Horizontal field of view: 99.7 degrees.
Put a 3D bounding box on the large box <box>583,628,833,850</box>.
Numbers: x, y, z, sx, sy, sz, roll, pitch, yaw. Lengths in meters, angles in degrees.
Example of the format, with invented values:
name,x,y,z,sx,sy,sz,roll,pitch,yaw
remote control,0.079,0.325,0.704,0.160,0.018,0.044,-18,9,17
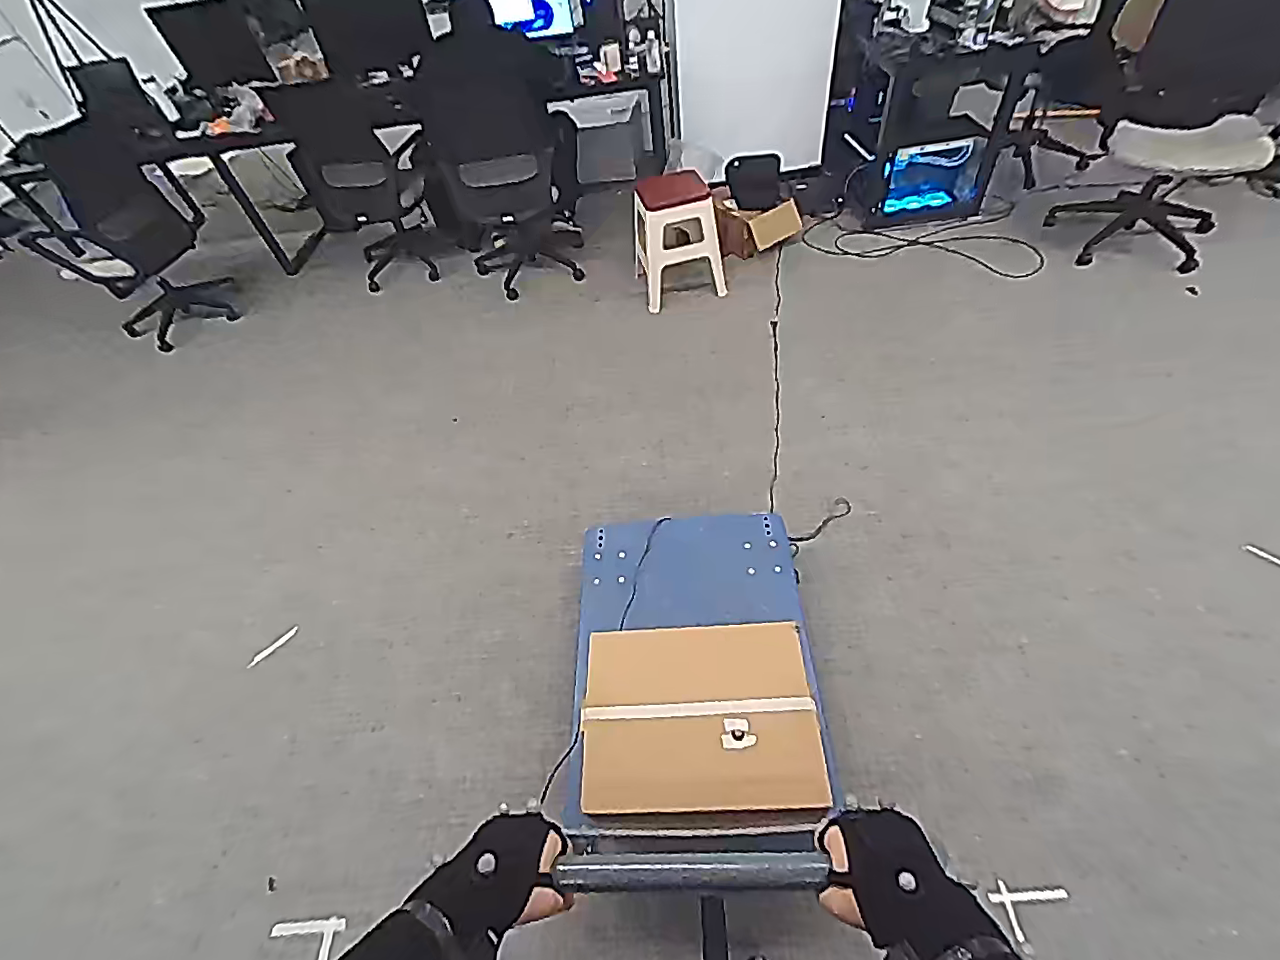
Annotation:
name,x,y,z,sx,sy,sz,roll,pitch,yaw
large box,0.115,0.513,1.057,0.408,0.320,0.320,-5,50,4
